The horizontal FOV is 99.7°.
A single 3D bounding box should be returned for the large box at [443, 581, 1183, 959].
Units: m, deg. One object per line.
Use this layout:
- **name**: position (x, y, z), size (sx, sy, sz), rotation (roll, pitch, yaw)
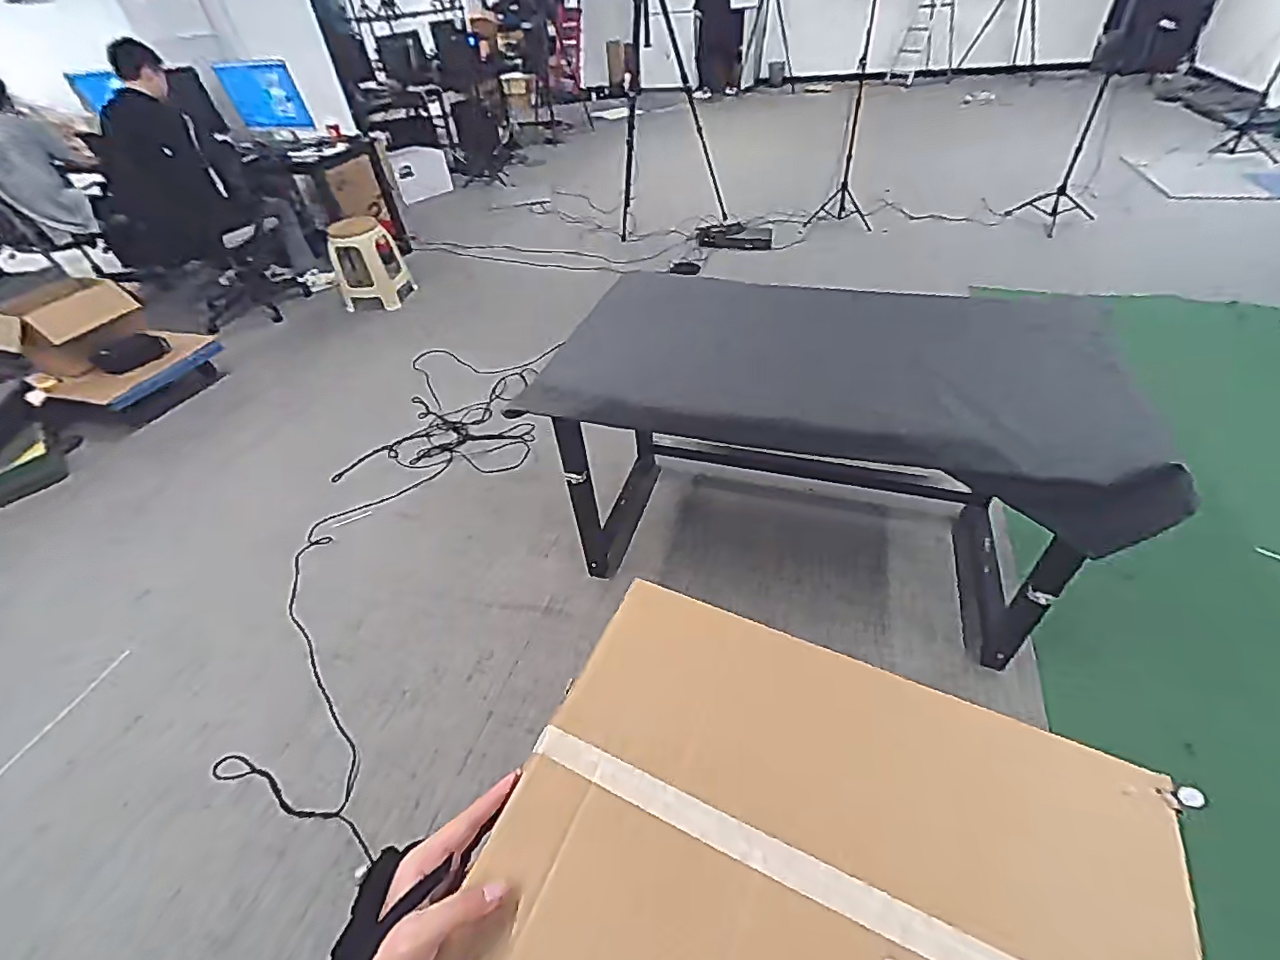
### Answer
- **large box**: position (0.123, 0.349, 0.462), size (0.408, 0.320, 0.320), rotation (17, 51, 19)
